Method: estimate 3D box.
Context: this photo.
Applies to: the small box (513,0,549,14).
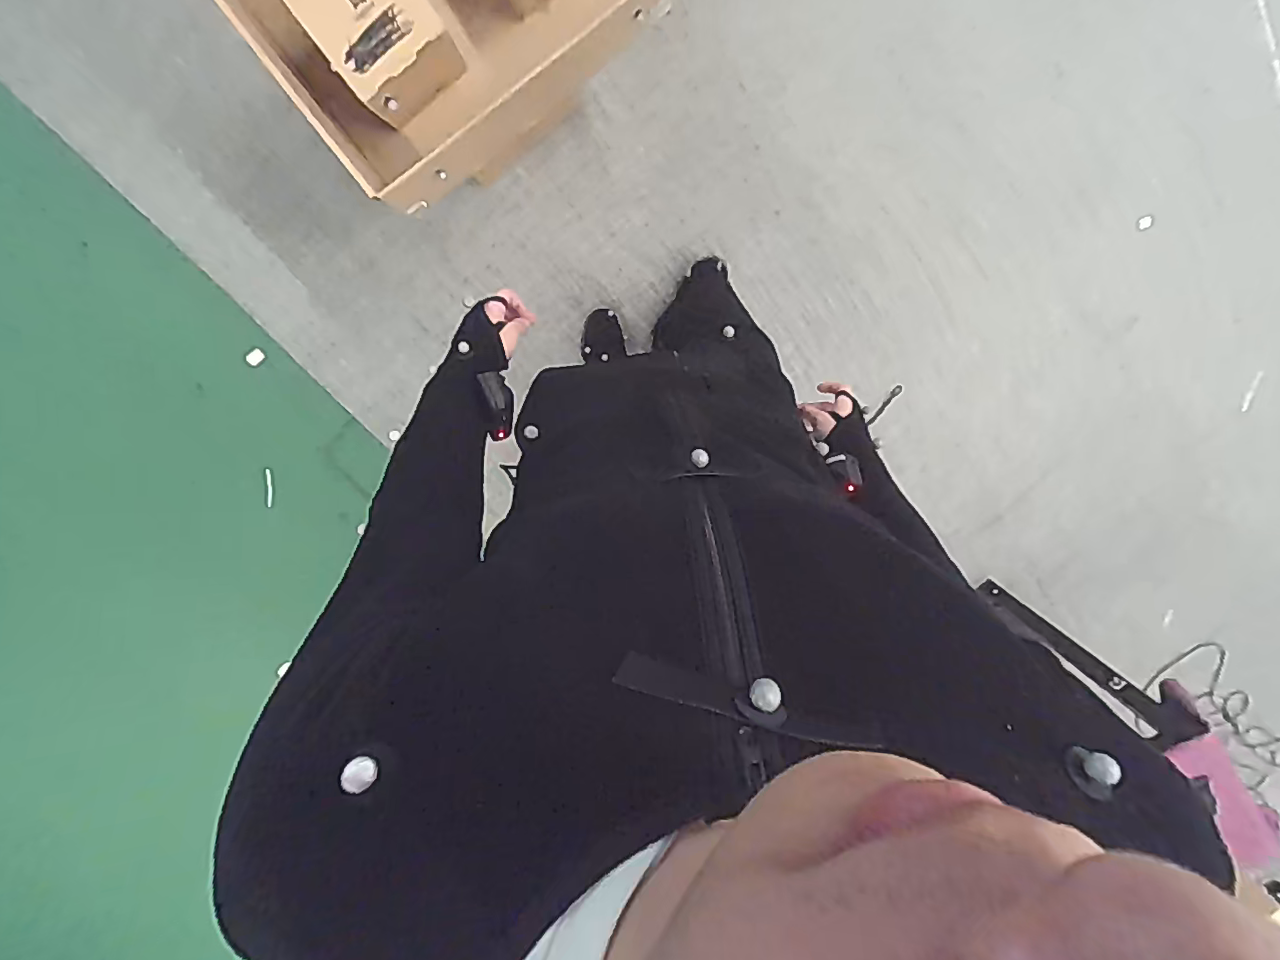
[{"bbox_3d":[-0.164,-0.856,0.795,0.168,0.176,0.179,-33,111,6],"label":"small box"}]
